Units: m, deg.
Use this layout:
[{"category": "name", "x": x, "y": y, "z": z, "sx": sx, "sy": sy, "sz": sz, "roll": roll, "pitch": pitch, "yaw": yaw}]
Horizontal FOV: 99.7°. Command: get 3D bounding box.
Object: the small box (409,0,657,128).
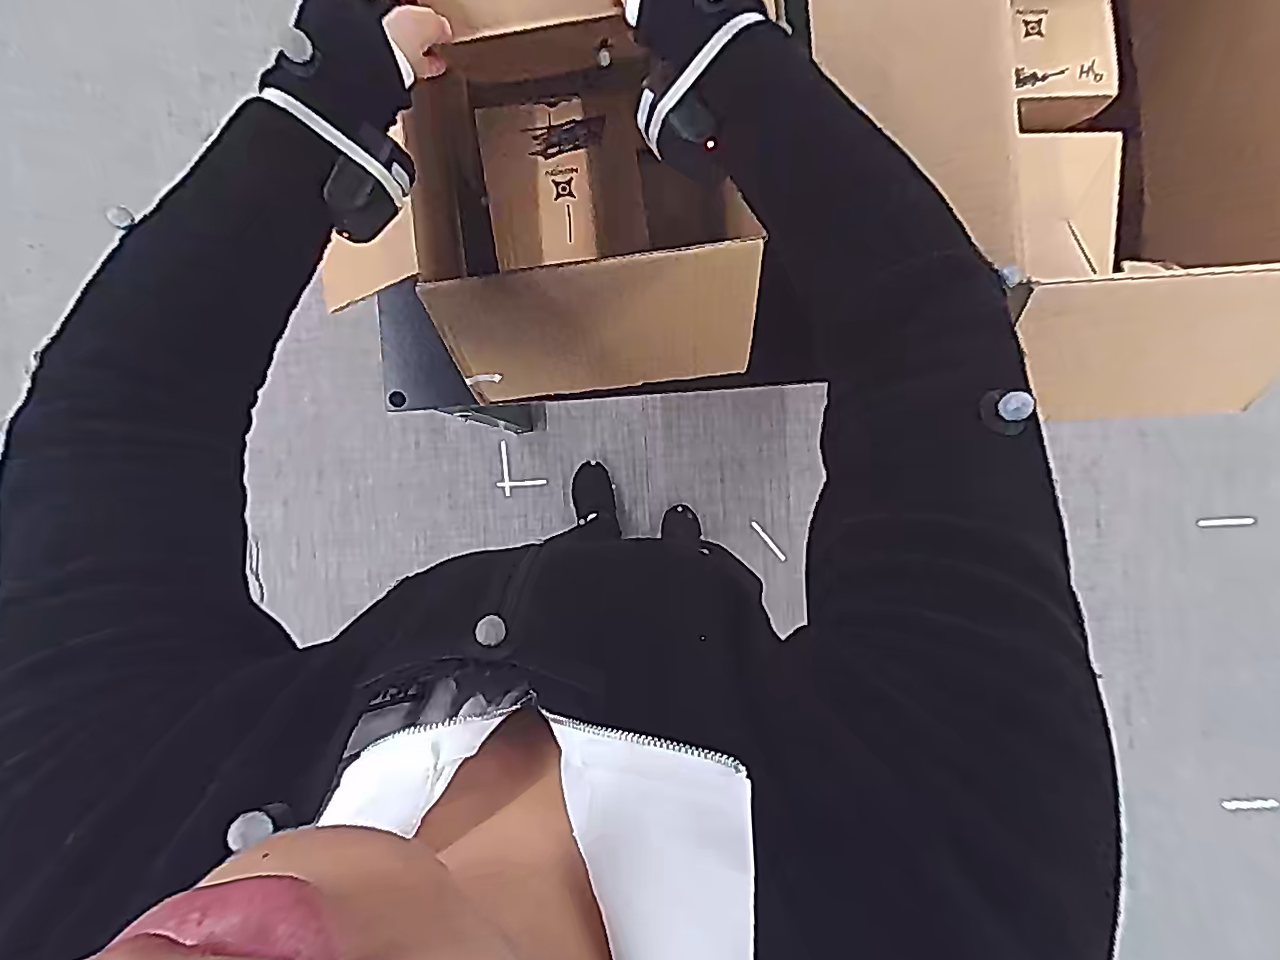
[{"category": "small box", "x": -0.087, "y": -0.408, "z": 0.449, "sx": 0.179, "sy": 0.176, "sz": 0.168, "roll": -8, "pitch": 116, "yaw": 1}]
